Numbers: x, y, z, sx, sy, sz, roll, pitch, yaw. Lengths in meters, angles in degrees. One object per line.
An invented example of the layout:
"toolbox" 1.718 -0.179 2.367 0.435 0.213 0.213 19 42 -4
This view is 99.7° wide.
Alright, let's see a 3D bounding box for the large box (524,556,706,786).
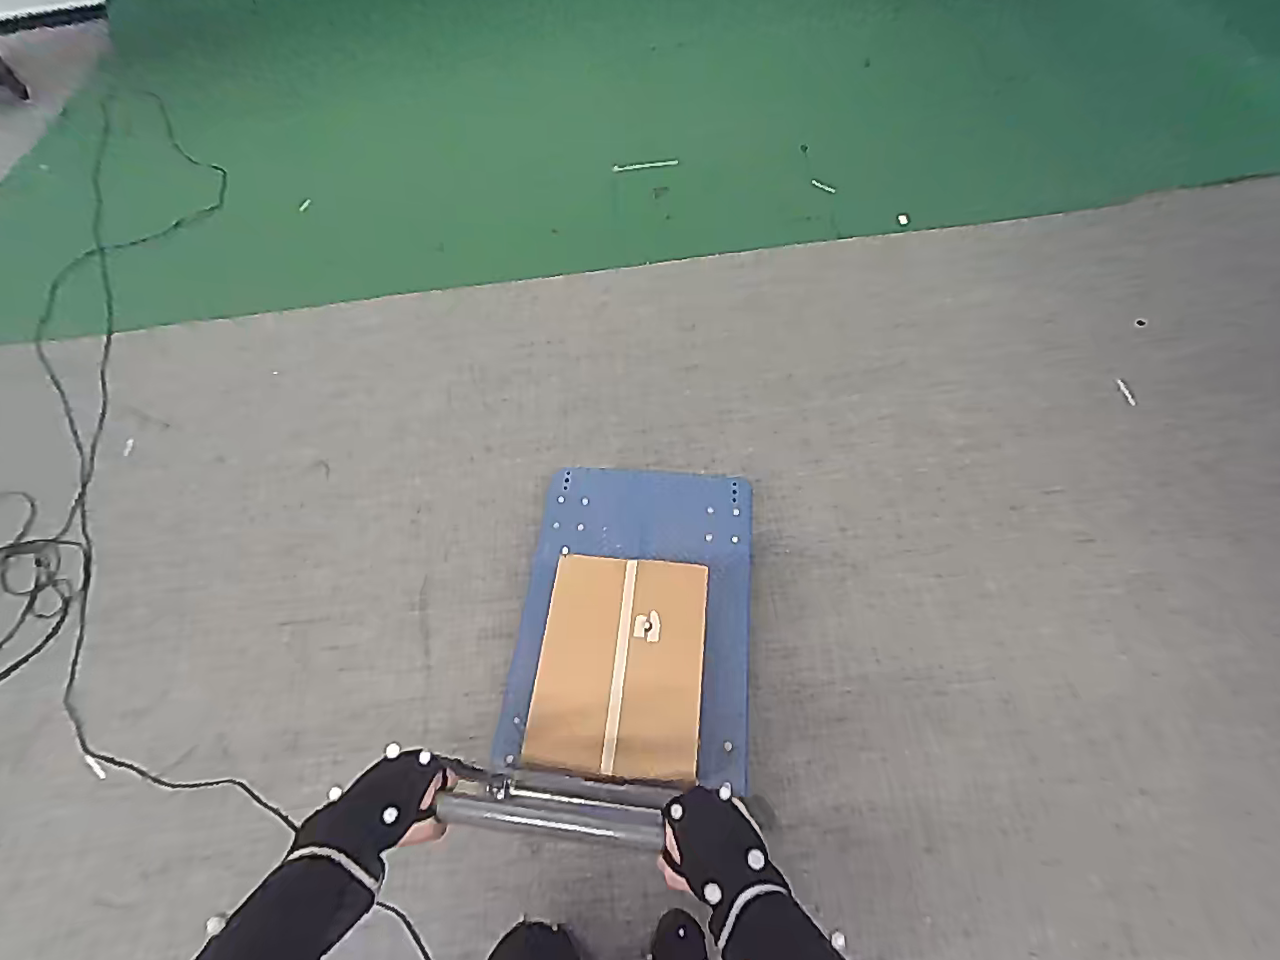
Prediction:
"large box" -0.026 0.416 1.162 0.320 0.320 0.408 5 61 6
